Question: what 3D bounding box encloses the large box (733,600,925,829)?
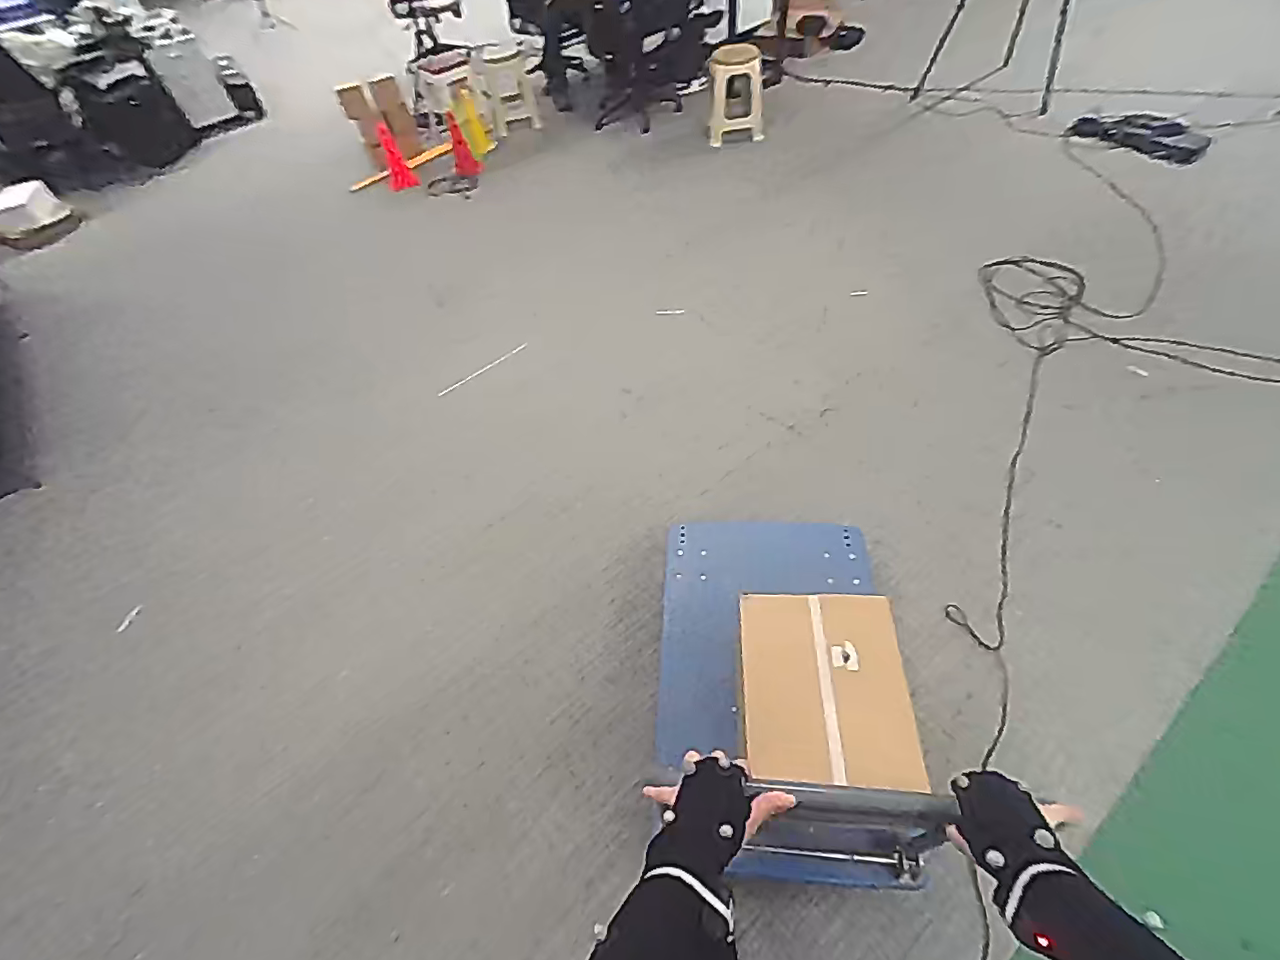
[{"bbox_3d":[0.372,0.516,1.192,0.320,0.320,0.408,0,52,6],"label":"large box"}]
